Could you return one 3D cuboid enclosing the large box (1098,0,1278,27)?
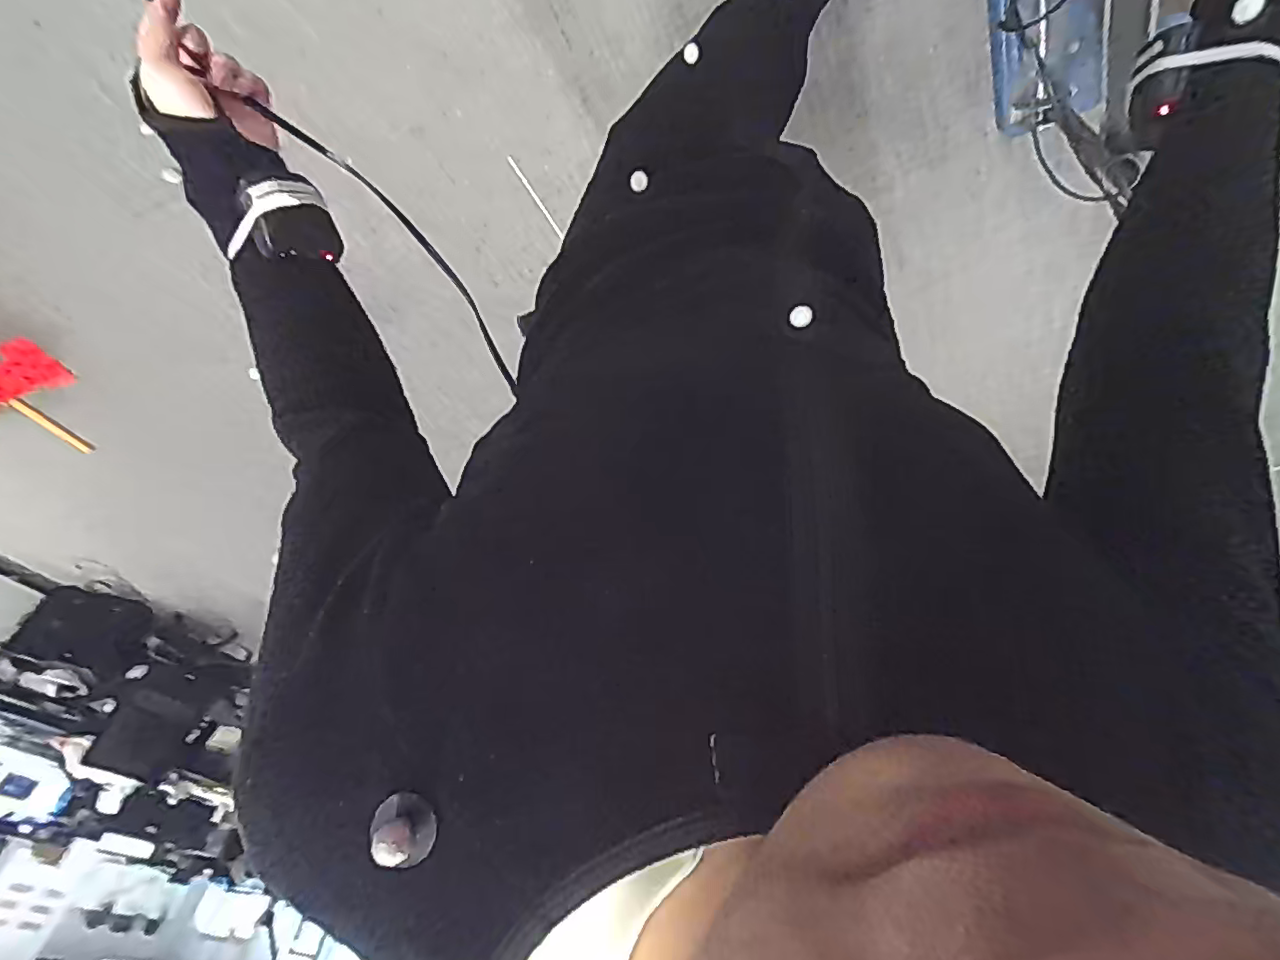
[{"bbox_3d":[0.830,-0.808,0.605,0.408,0.320,0.320,-12,134,22],"label":"large box"}]
